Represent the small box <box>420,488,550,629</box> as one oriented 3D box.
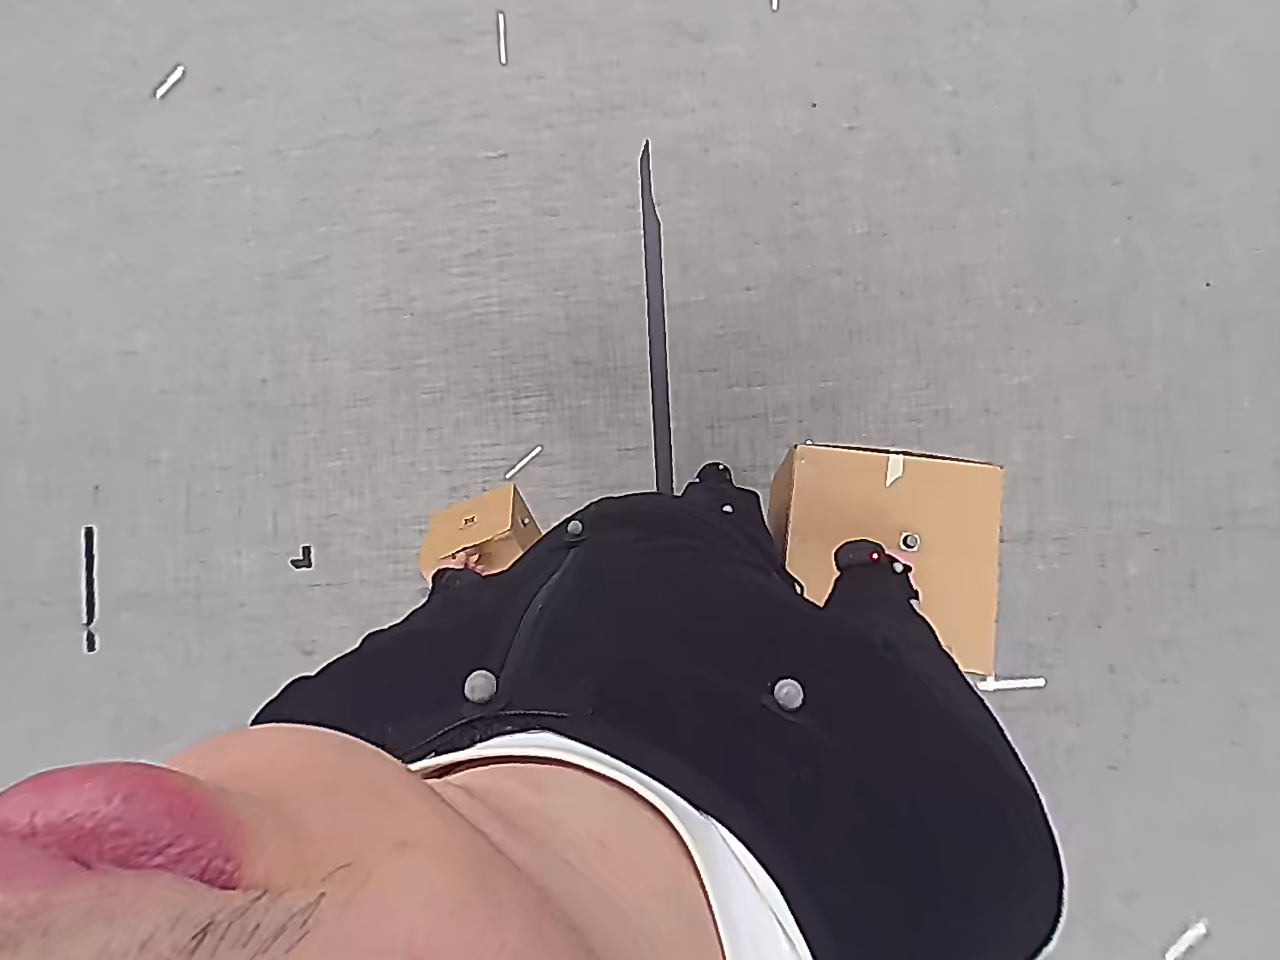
[{"bbox_3d":[-0.271,0.148,0.990,0.168,0.179,0.176,-22,117,0],"label":"small box"}]
